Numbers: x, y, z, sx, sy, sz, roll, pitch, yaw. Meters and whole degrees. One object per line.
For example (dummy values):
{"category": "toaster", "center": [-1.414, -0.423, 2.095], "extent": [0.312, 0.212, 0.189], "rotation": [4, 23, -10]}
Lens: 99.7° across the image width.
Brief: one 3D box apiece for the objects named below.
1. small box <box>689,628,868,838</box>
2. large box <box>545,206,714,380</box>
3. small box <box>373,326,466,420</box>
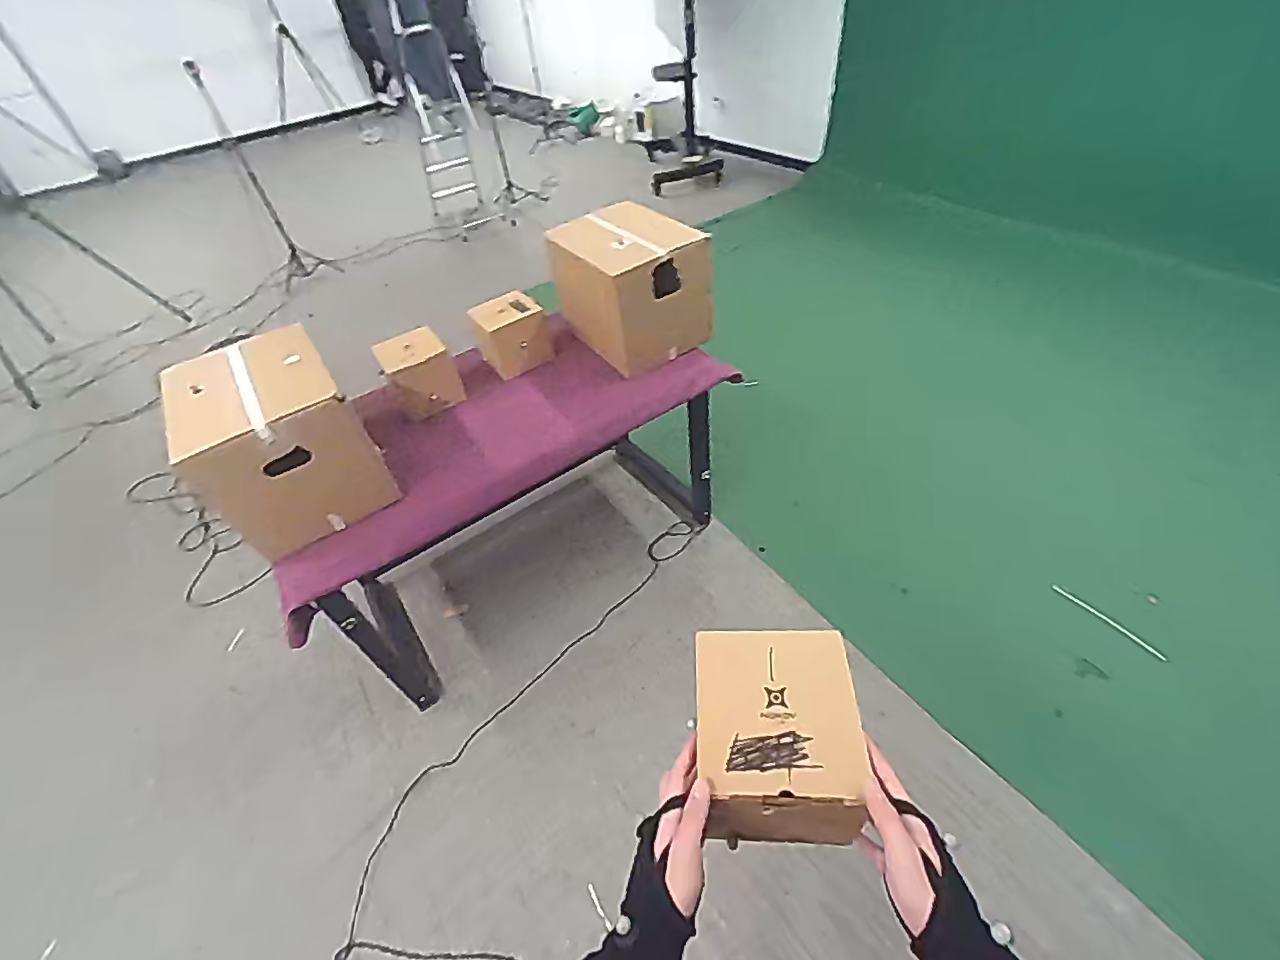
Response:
{"category": "small box", "center": [0.143, 0.289, 0.614], "extent": [0.168, 0.176, 0.179], "rotation": [-3, 45, 7]}
{"category": "large box", "center": [-0.026, -0.560, 1.593], "extent": [0.320, 0.320, 0.408], "rotation": [-30, 50, -18]}
{"category": "small box", "center": [-0.614, -0.298, 1.515], "extent": [0.168, 0.176, 0.179], "rotation": [-29, 50, -19]}
